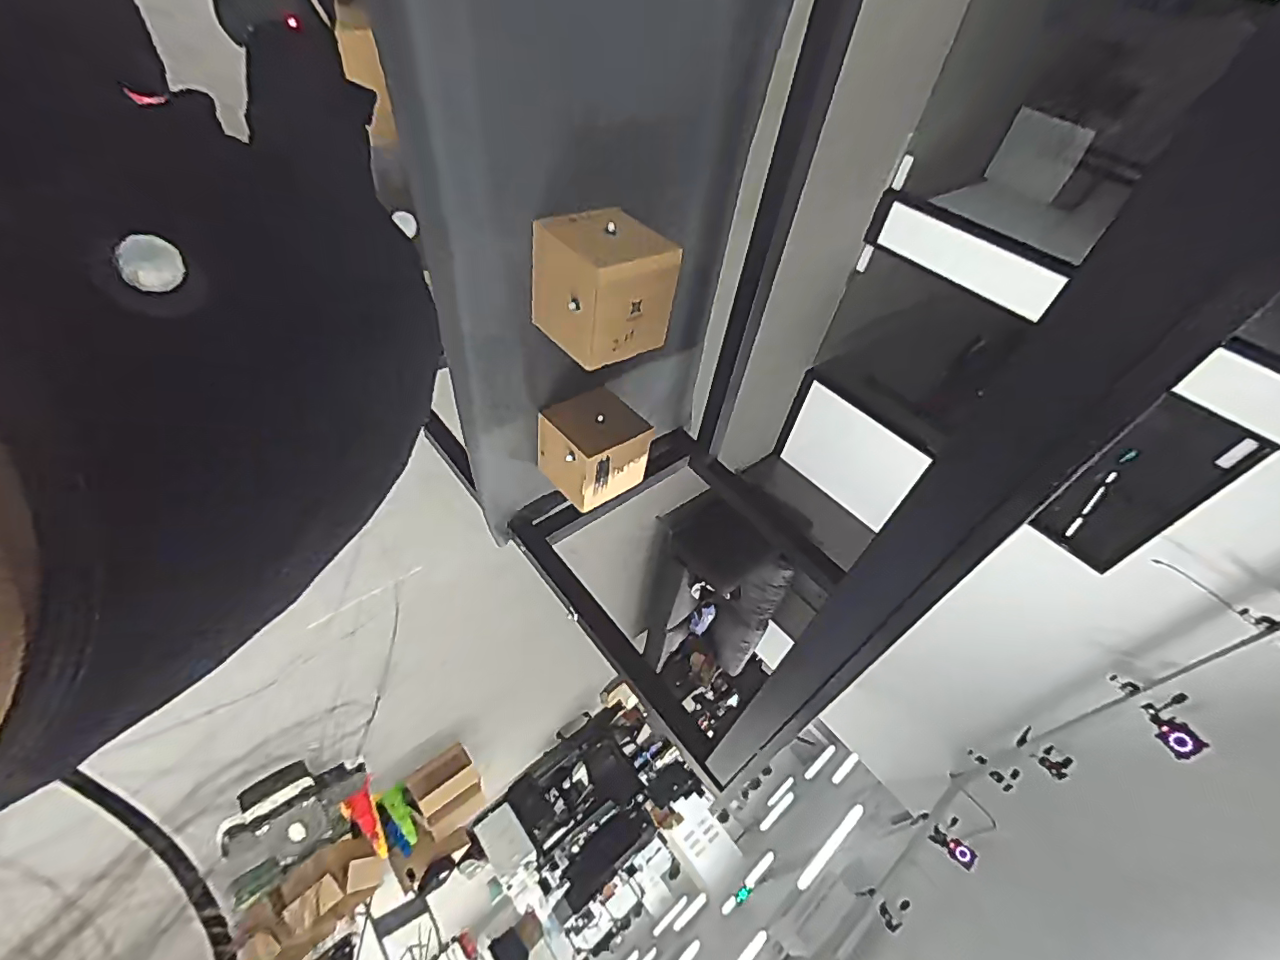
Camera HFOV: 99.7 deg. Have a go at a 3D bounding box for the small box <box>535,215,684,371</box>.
[{"bbox_3d":[-0.057,-0.311,0.878,0.168,0.176,0.179,-27,148,-32],"label":"small box"}]
